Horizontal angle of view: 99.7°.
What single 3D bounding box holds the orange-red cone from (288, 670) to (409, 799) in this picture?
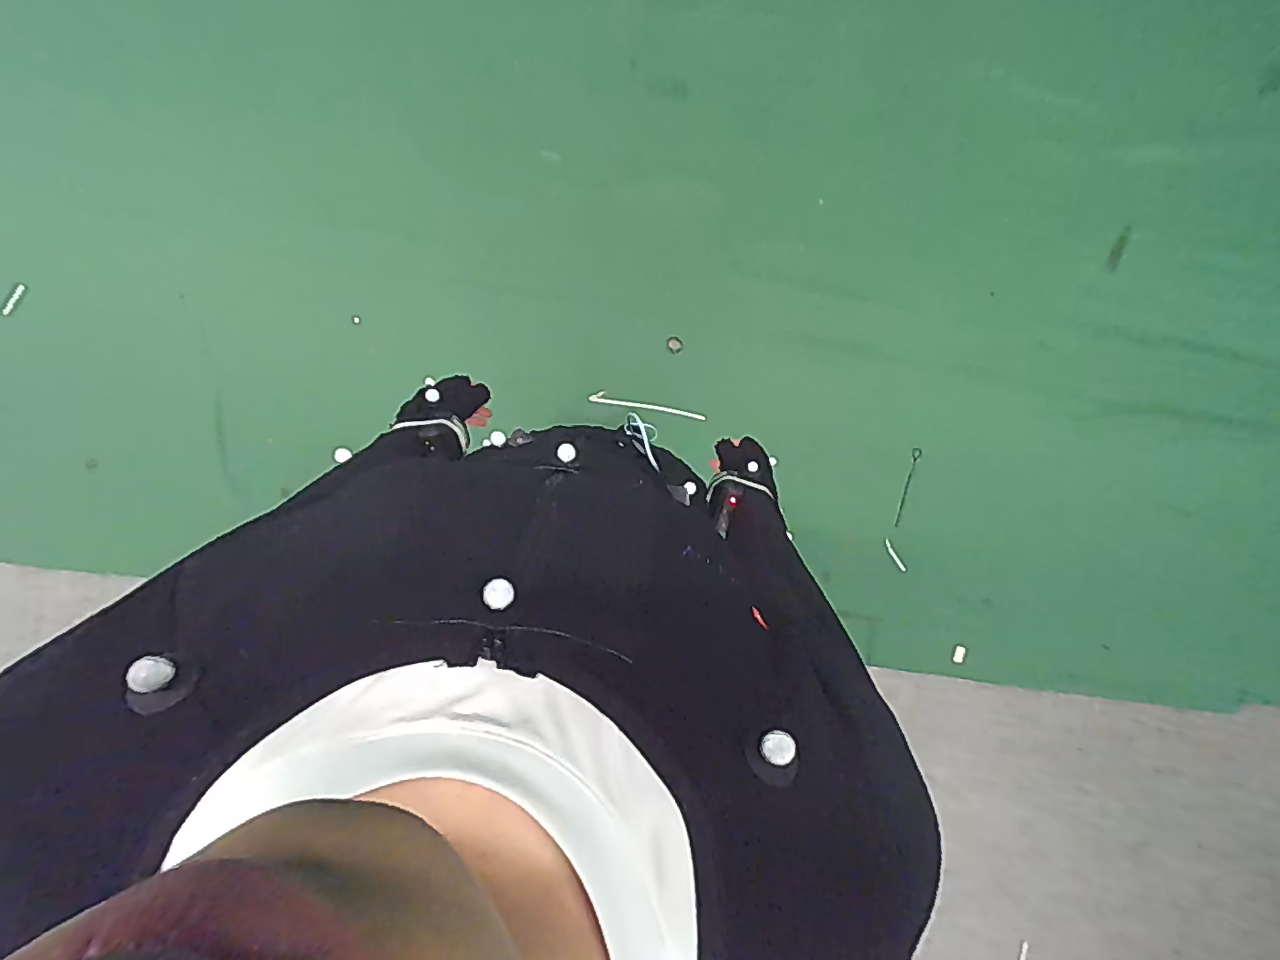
[{"bbox_3d":[-0.745,0.656,1.341,0.198,0.360,0.199,9,96,-3],"label":"orange-red cone"}]
